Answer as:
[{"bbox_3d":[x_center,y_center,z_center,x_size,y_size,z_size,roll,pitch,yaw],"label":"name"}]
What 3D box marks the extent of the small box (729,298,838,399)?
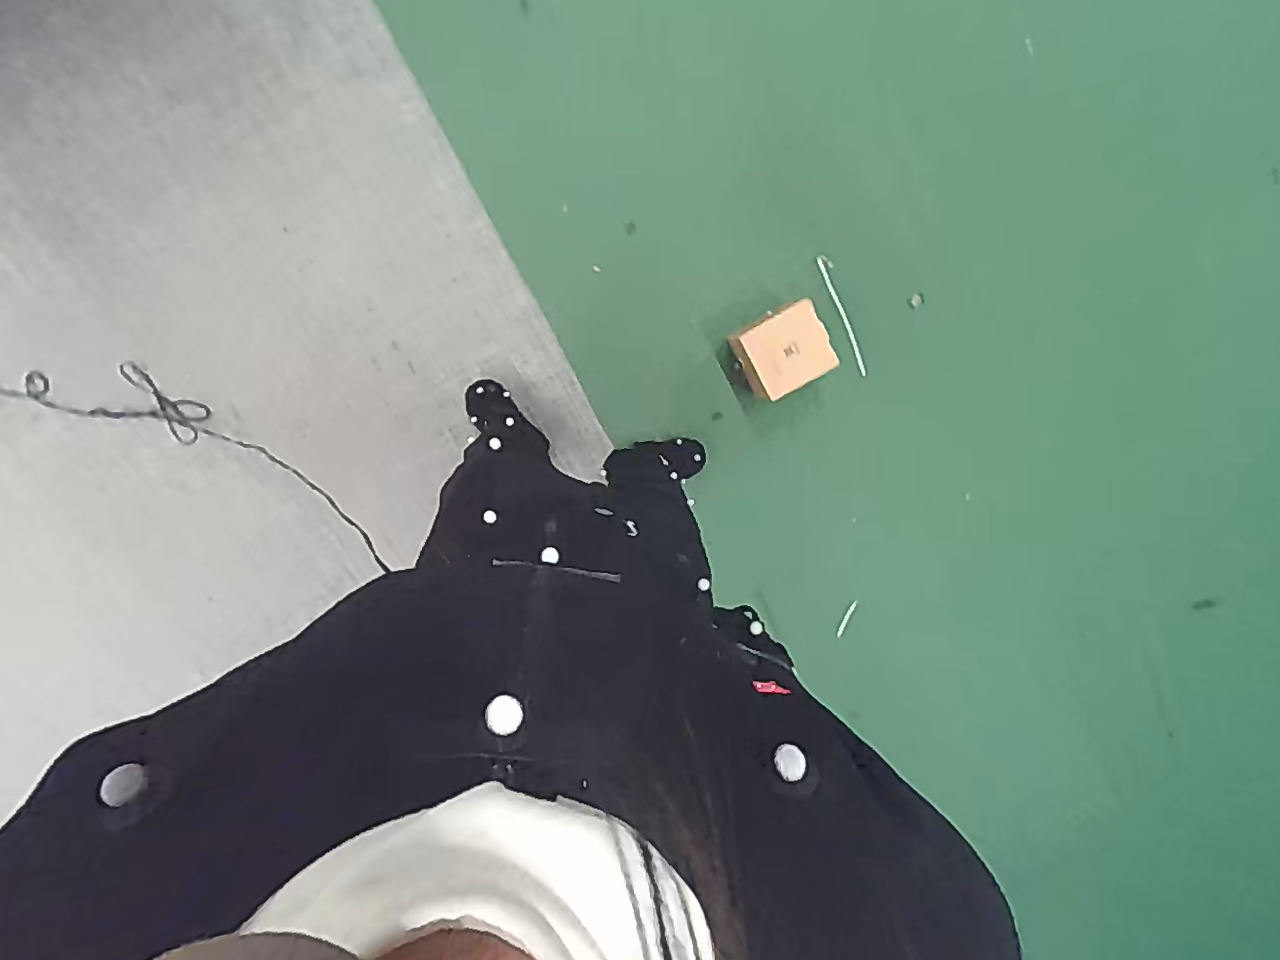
[{"bbox_3d":[0.333,-0.312,1.286,0.179,0.176,0.168,-29,102,7],"label":"small box"}]
